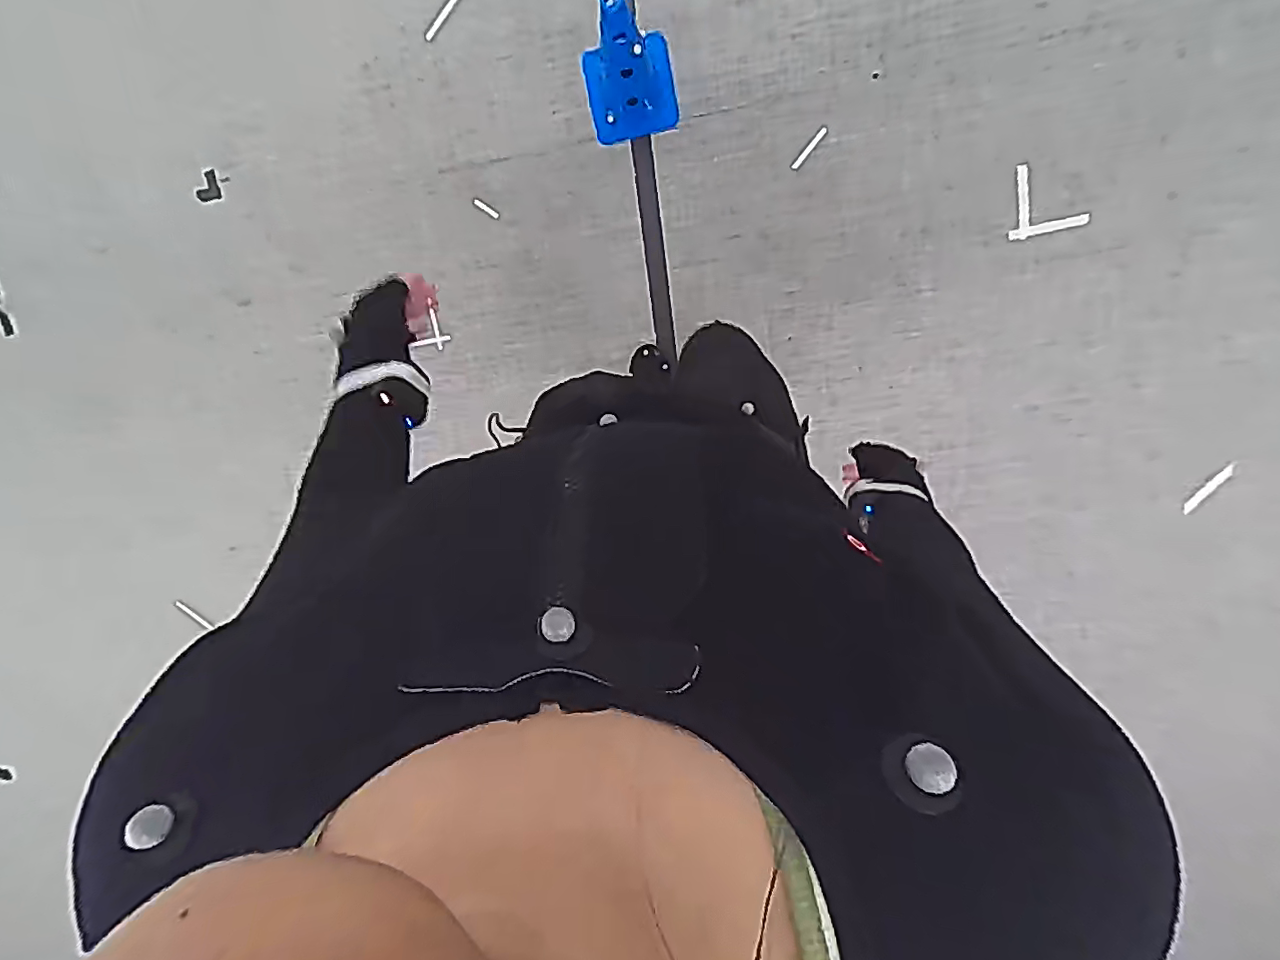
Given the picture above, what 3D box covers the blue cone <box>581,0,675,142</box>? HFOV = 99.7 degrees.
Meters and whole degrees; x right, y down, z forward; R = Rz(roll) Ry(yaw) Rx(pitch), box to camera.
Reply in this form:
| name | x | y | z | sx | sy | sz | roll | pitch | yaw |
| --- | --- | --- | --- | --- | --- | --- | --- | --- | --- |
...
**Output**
| name | x | y | z | sx | sy | sz | roll | pitch | yaw |
| --- | --- | --- | --- | --- | --- | --- | --- | --- | --- |
| blue cone | -0.034 | -0.855 | 1.079 | 0.192 | 0.380 | 0.193 | -13 | 104 | 8 |
